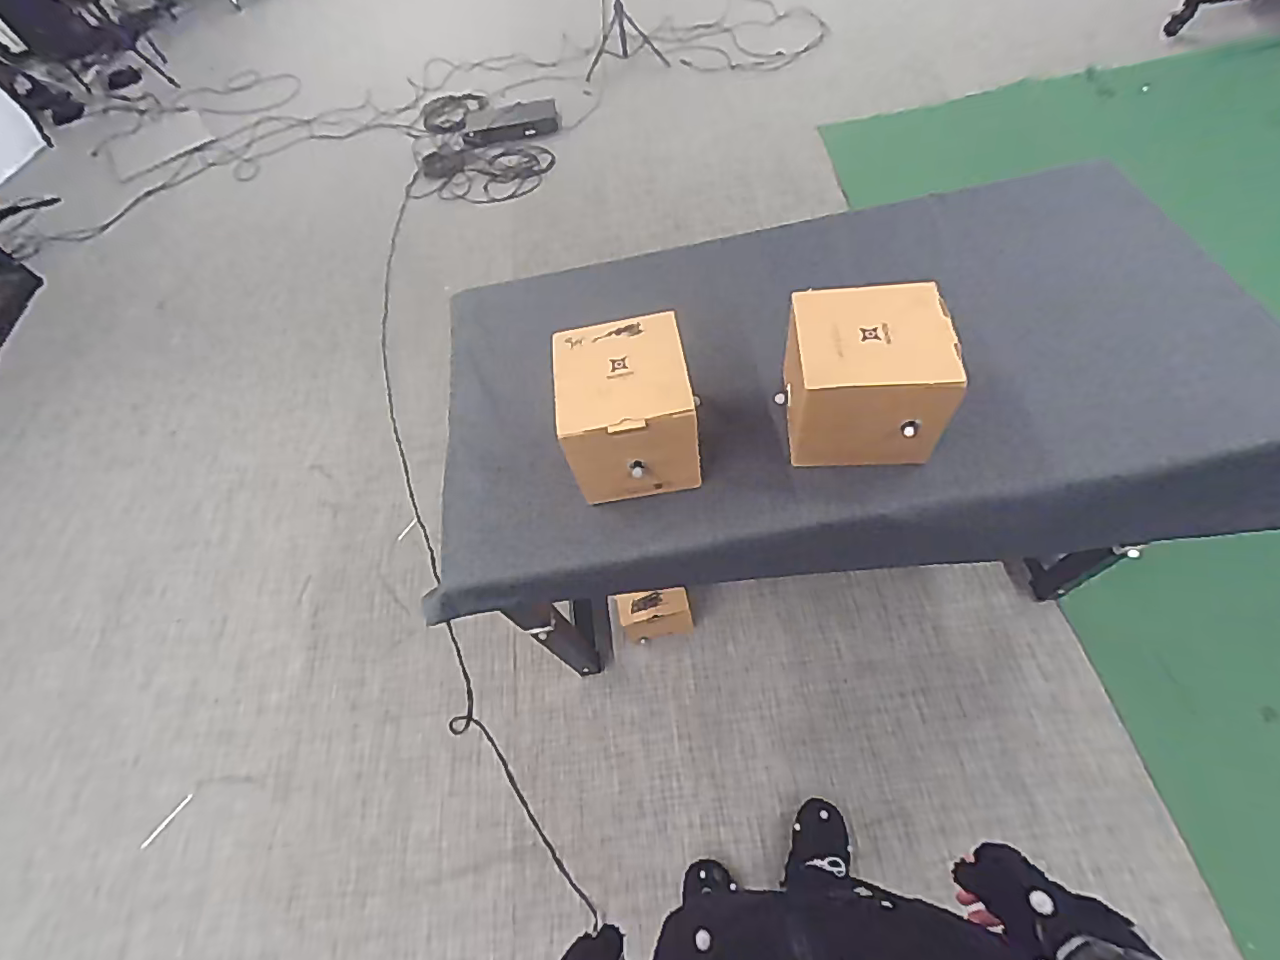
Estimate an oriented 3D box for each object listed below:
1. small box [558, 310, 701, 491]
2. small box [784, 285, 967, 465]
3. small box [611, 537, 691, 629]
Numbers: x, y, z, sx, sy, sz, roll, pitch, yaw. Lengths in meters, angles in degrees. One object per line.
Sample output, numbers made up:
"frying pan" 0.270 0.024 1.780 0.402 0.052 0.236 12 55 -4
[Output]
"small box" -0.010 -0.098 0.740 0.168 0.176 0.179 -9 59 3
"small box" 0.293 -0.131 0.715 0.179 0.176 0.168 -2 59 9
"small box" 0.032 0.269 1.372 0.168 0.176 0.179 -12 59 1
